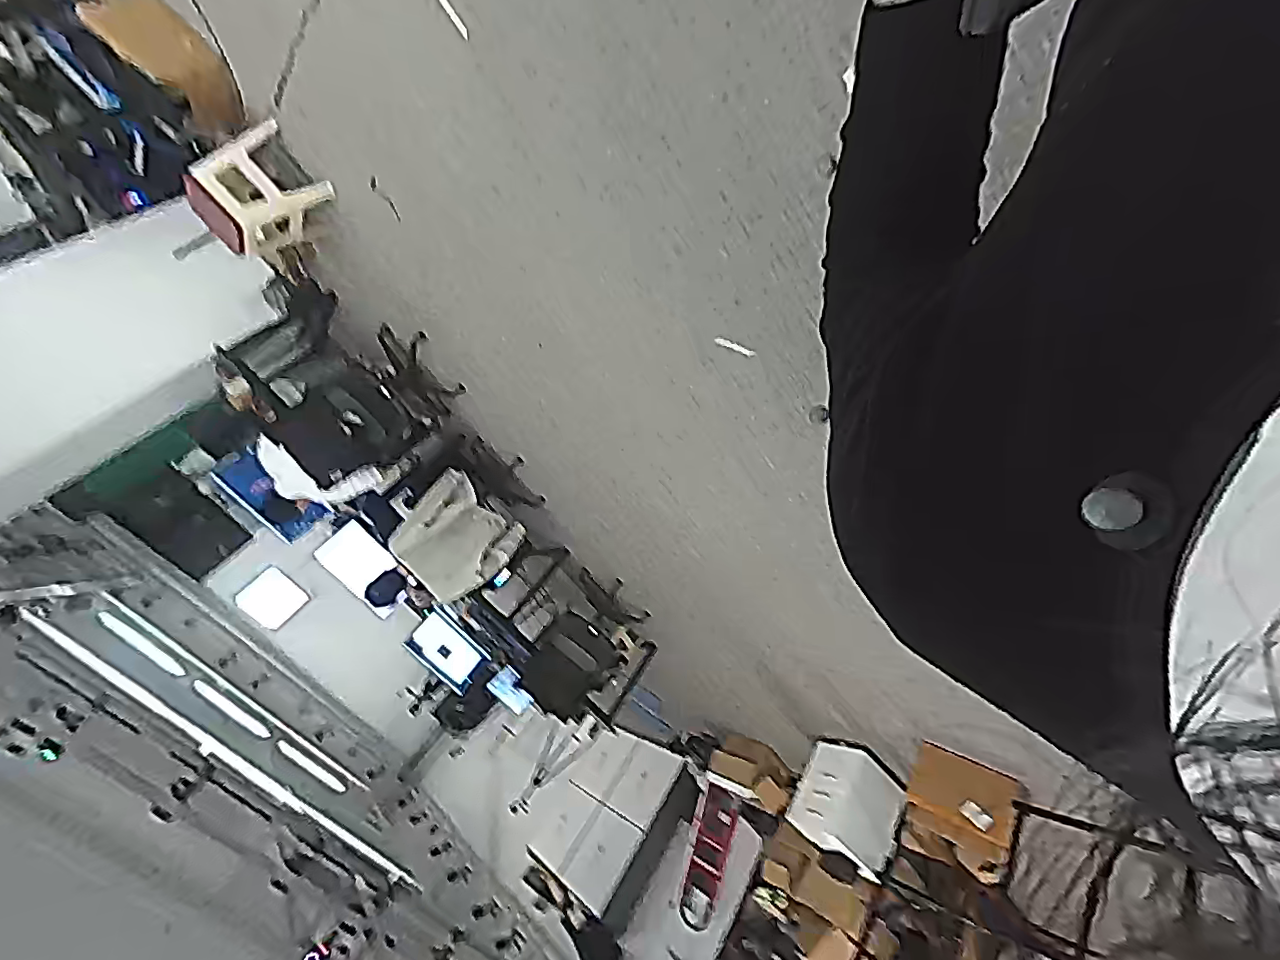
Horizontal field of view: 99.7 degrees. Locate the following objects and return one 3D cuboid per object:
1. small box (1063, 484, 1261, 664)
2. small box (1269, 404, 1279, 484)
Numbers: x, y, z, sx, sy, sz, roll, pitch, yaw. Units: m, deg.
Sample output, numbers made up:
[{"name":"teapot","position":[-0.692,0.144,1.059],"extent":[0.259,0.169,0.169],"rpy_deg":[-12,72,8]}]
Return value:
[{"name":"small box","position":[0.747,0.128,0.772],"extent":[0.179,0.176,0.168],"rpy_deg":[52,149,-18]},{"name":"small box","position":[0.951,-0.006,0.696],"extent":[0.168,0.176,0.179],"rpy_deg":[-10,122,51]}]
